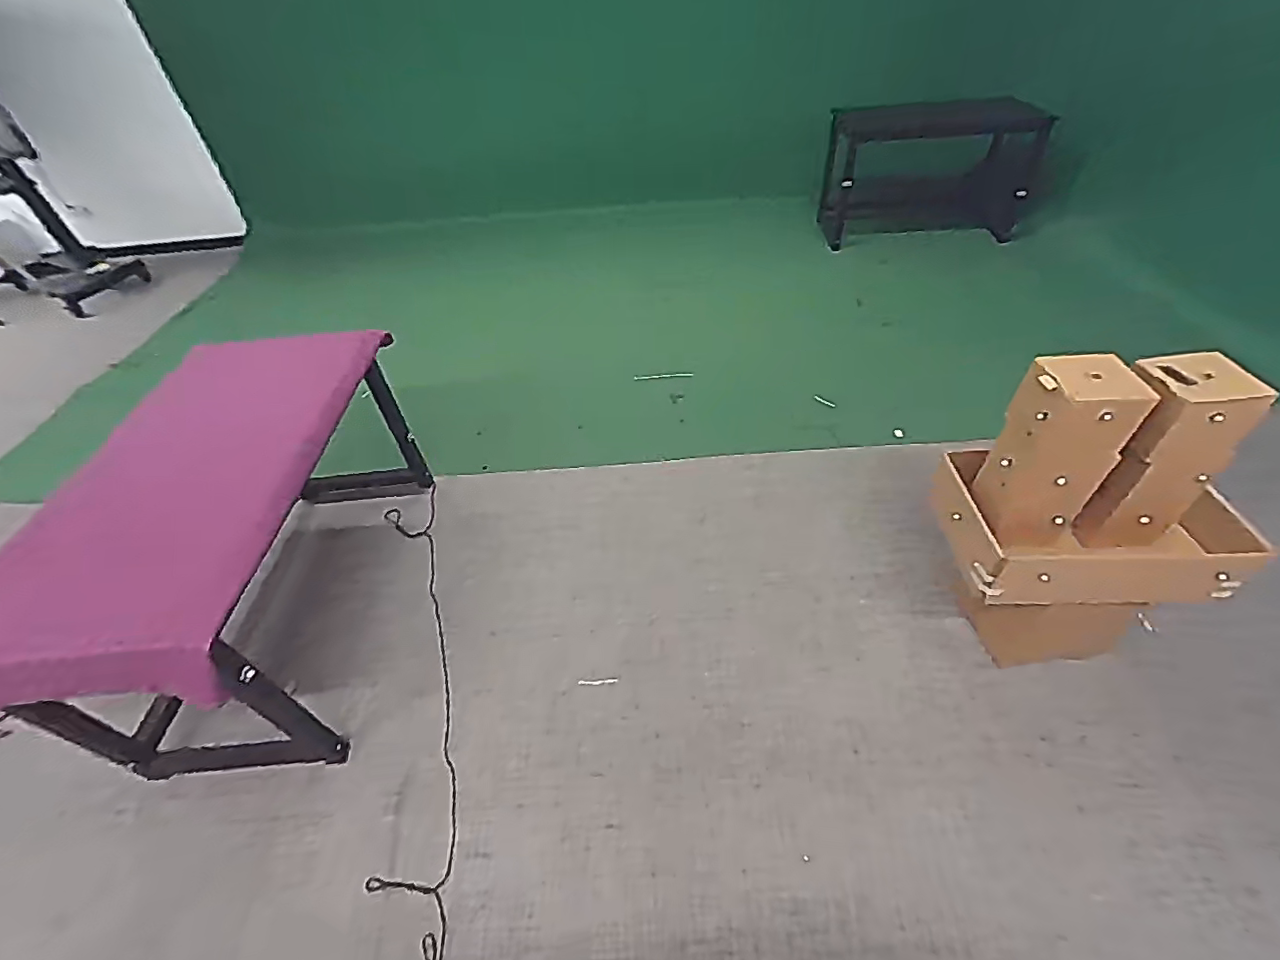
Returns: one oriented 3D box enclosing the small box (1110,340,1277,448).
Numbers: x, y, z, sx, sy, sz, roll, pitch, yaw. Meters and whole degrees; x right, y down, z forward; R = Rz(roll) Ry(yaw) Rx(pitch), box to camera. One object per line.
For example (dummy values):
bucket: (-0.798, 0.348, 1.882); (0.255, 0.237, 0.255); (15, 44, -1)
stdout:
small box: (1.201, -0.186, 1.198); (0.179, 0.176, 0.168); (-7, 45, 3)

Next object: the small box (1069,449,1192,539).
small box: (1.266, 0.039, 1.429); (0.179, 0.176, 0.168); (-6, 45, 5)

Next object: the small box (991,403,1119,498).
small box: (1.001, -0.069, 1.329); (0.179, 0.176, 0.168); (-2, 46, 4)

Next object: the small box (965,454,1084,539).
small box: (1.013, 0.046, 1.444); (0.179, 0.176, 0.168); (-2, 45, 4)
